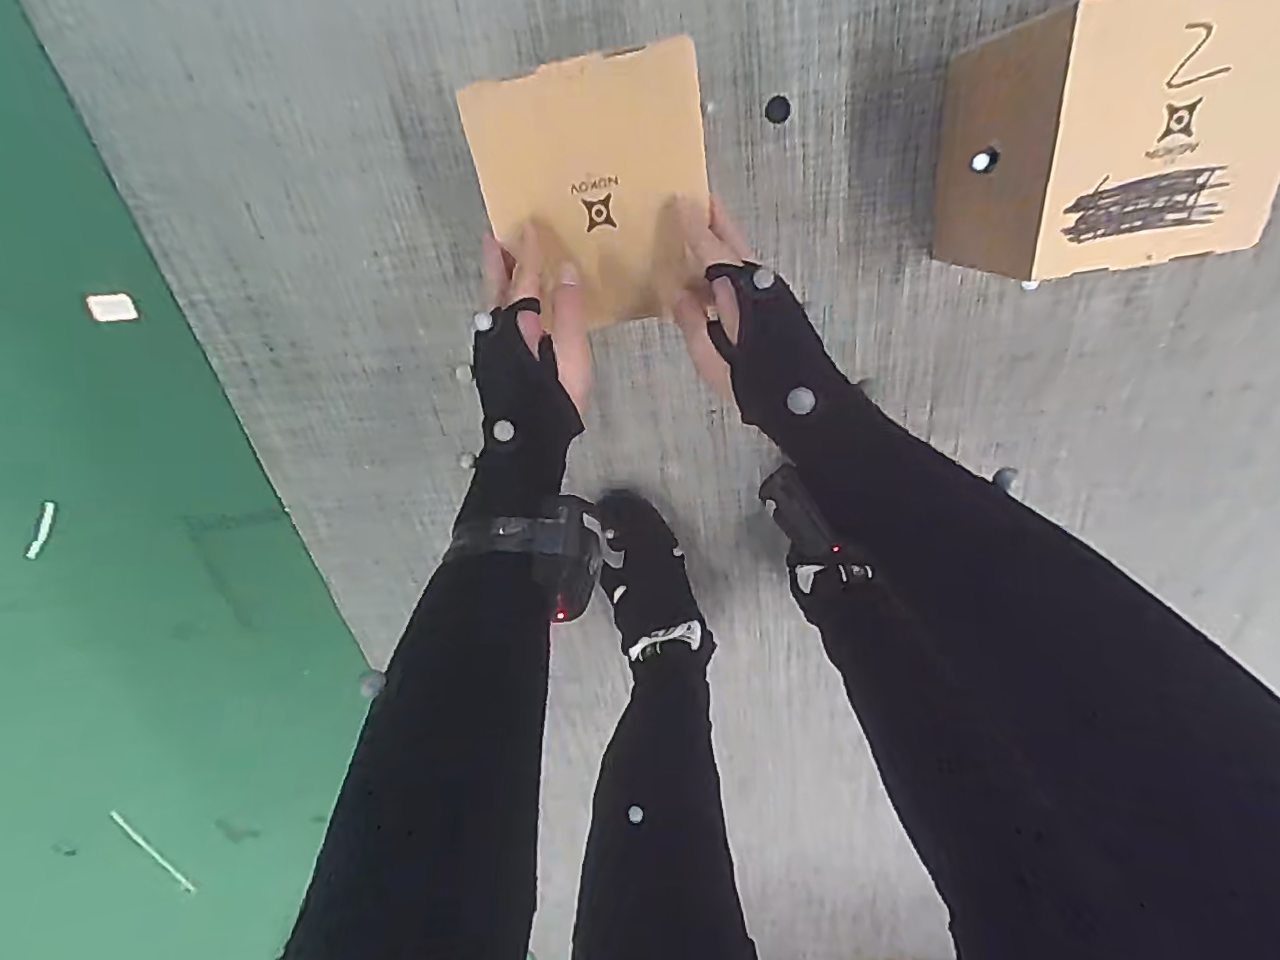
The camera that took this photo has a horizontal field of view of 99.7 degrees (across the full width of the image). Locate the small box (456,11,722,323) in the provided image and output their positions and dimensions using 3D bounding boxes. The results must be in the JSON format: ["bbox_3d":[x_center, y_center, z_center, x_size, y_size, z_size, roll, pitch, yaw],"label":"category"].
[{"bbox_3d":[-0.027,-0.250,0.459,0.168,0.176,0.179,-9,118,5],"label":"small box"}]
